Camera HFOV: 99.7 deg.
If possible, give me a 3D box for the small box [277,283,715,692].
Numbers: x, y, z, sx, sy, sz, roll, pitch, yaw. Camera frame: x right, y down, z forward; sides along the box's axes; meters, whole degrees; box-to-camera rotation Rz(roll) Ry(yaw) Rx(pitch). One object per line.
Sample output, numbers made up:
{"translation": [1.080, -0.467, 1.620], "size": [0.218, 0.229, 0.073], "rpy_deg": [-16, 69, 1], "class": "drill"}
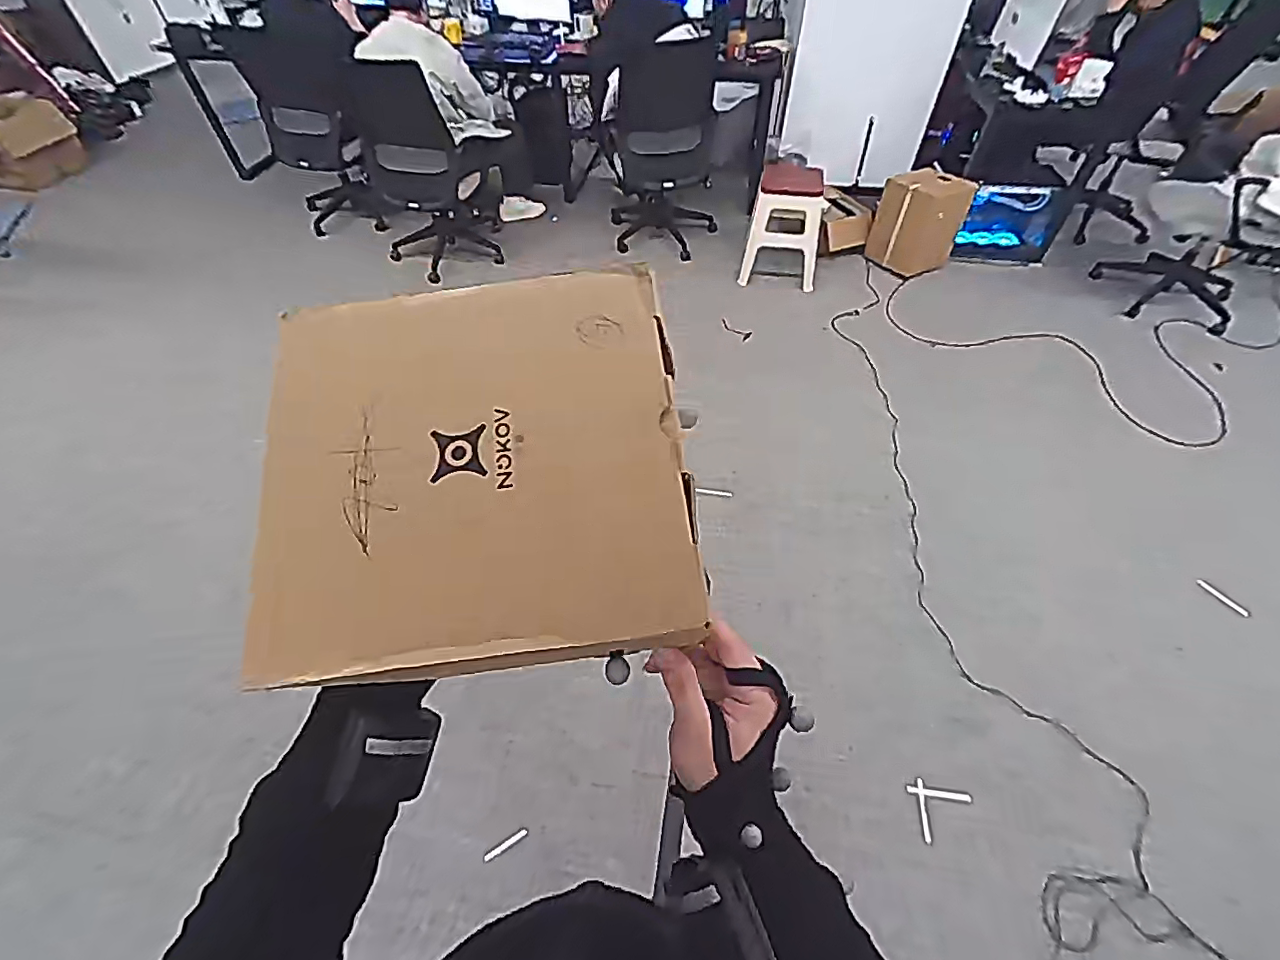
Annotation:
{"translation": [-0.061, 0.020, 0.310], "size": [0.179, 0.176, 0.168], "rpy_deg": [-9, 71, 2], "class": "small box"}
